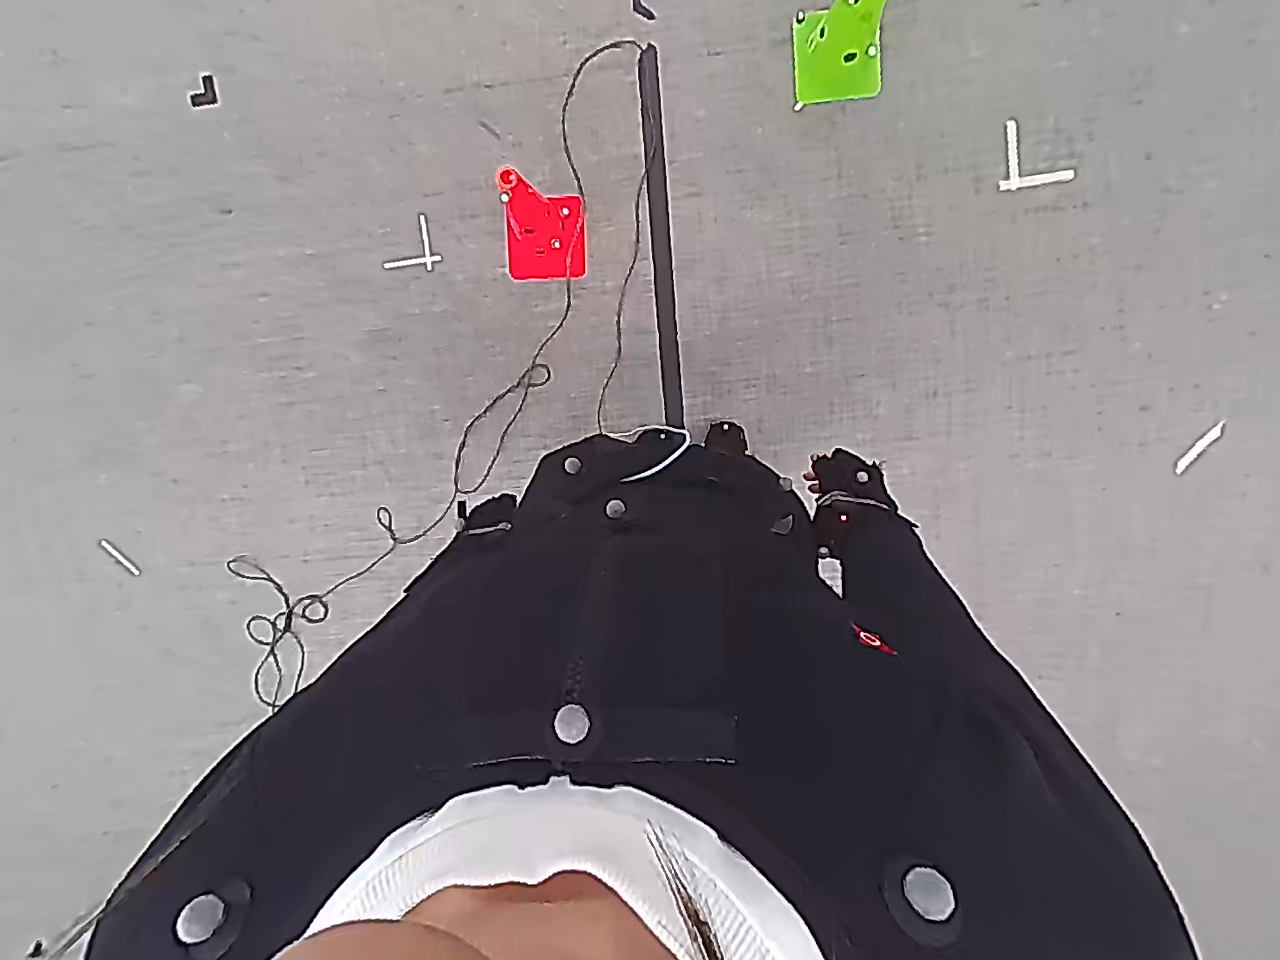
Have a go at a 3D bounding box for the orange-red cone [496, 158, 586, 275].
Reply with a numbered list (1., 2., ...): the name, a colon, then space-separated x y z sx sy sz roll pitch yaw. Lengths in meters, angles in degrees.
1. orange-red cone: -0.246 -0.601 1.189 0.199 0.360 0.198 0 96 4

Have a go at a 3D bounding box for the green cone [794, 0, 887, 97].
1. green cone: 0.462 -0.994 1.102 0.202 0.368 0.200 -5 97 2
